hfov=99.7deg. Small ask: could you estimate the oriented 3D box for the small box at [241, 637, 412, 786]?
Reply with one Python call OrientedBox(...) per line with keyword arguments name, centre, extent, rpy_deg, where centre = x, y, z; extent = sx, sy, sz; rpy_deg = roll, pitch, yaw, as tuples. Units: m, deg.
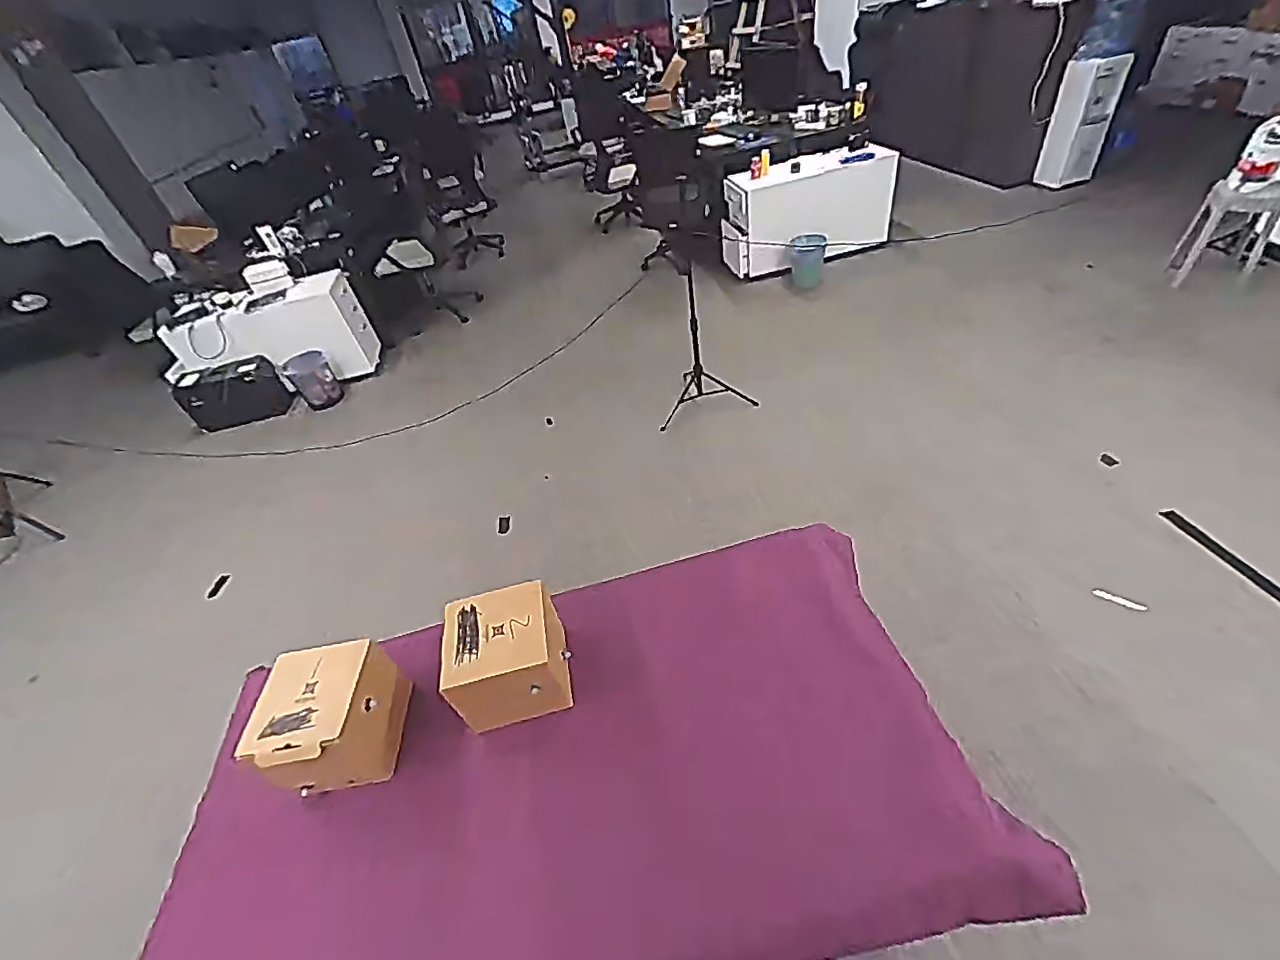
OrientedBox(name="small box", centre=(-0.512, 0.397, 0.917), extent=(0.168, 0.176, 0.179), rpy_deg=(-10, 42, 2))
